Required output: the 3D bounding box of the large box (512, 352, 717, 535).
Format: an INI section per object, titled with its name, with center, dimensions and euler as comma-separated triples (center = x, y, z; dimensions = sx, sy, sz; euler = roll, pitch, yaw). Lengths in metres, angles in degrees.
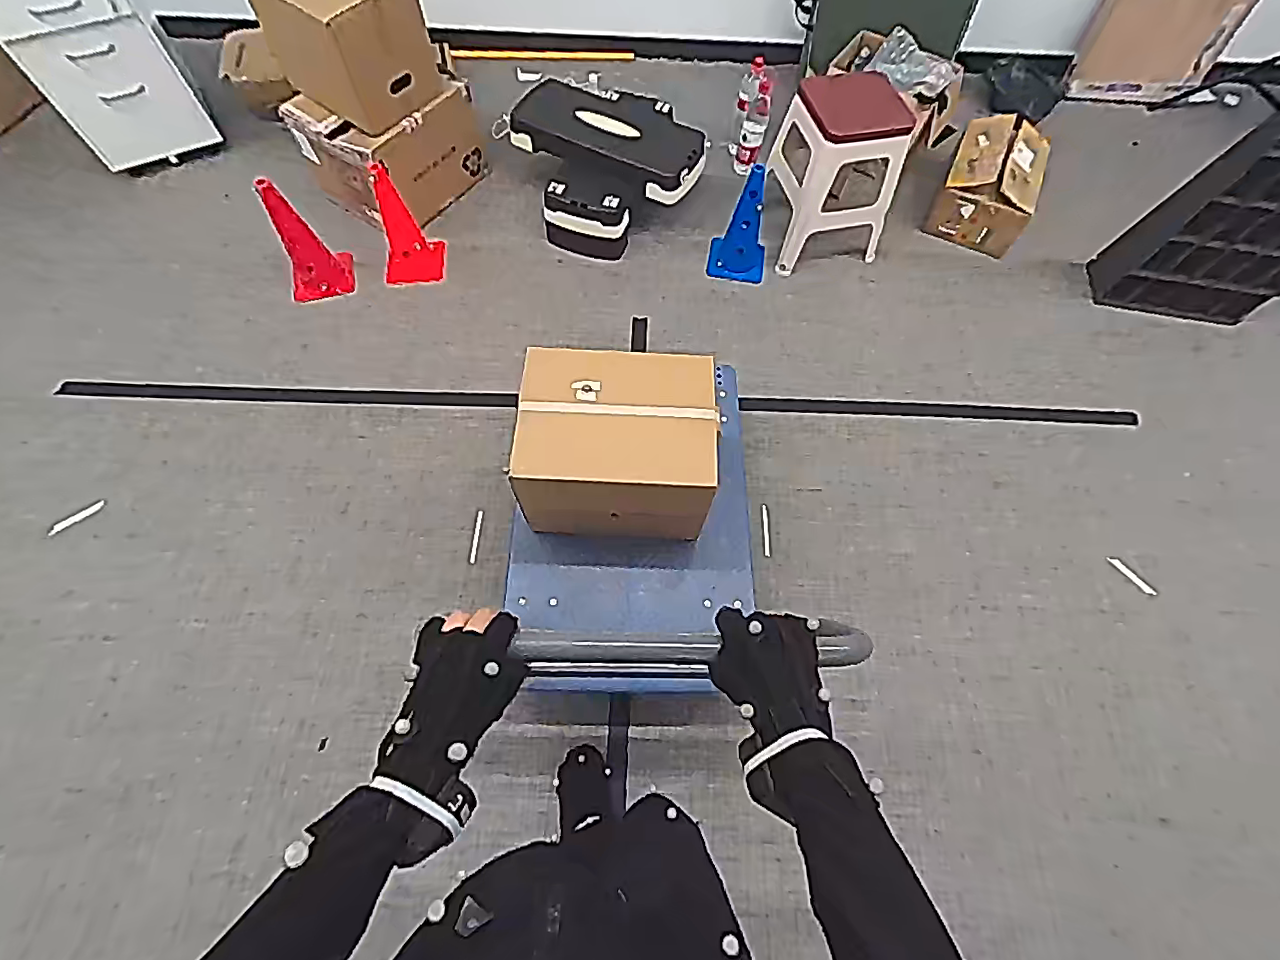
[large box]
center = -0.046, -0.069, 1.241
dimensions = 0.408, 0.320, 0.320
euler = 3, 65, 0
